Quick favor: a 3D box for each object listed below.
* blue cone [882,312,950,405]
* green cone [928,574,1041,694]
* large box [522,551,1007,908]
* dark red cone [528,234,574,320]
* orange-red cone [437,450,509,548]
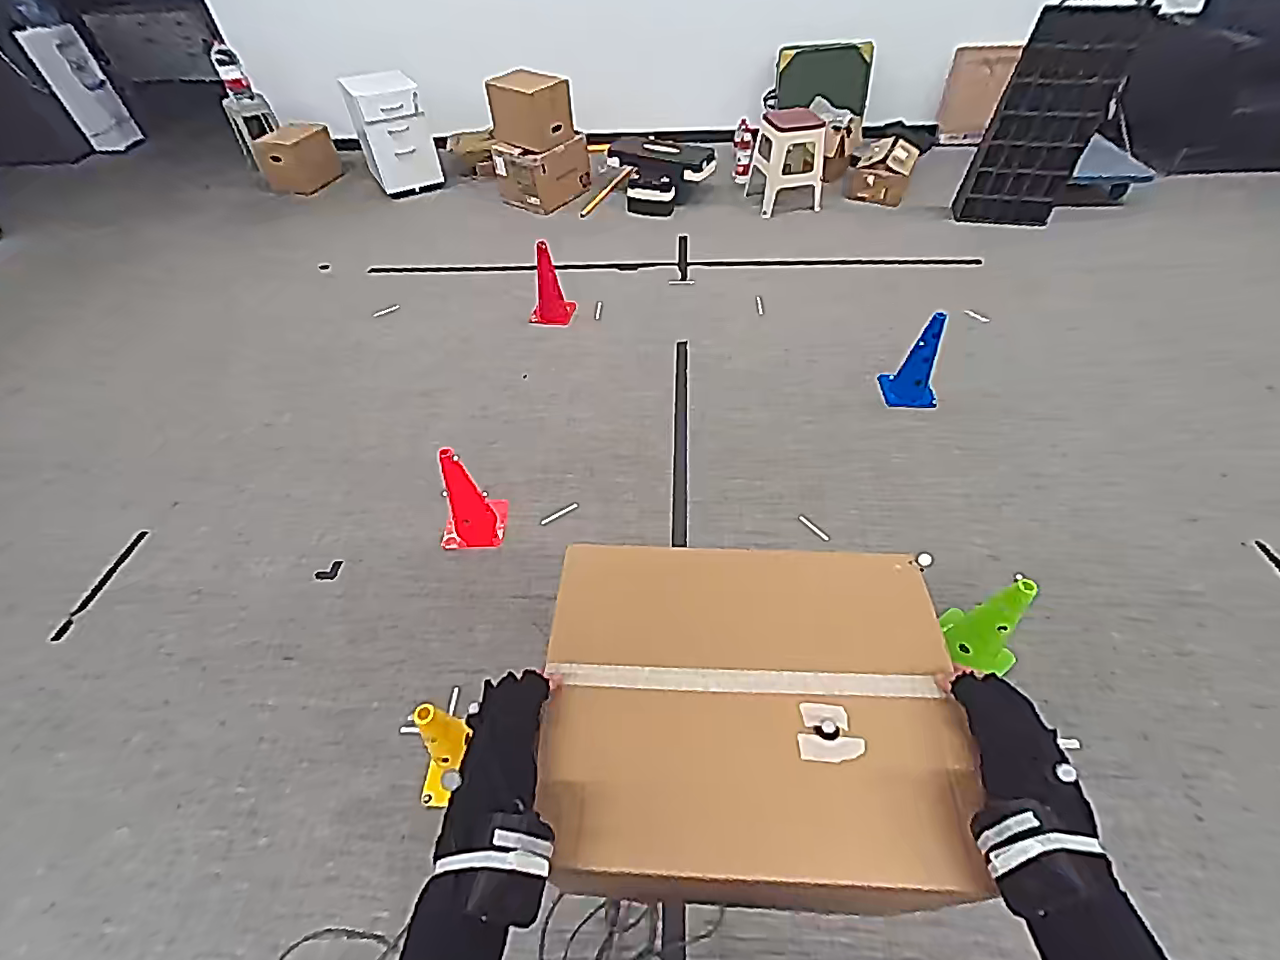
[{"bbox_3d":[1.102,-0.481,2.107,0.192,0.380,0.193,4,50,4],"label":"blue cone"},{"bbox_3d":[0.899,0.353,1.369,0.202,0.368,0.200,-28,54,-22],"label":"green cone"},{"bbox_3d":[0.105,0.300,0.647,0.408,0.320,0.320,1,49,3],"label":"large box"},{"bbox_3d":[-0.438,-0.956,2.544,0.201,0.394,0.202,6,50,6],"label":"dark red cone"},{"bbox_3d":[-0.565,0.039,1.717,0.198,0.360,0.199,-2,50,2],"label":"orange-red cone"}]
